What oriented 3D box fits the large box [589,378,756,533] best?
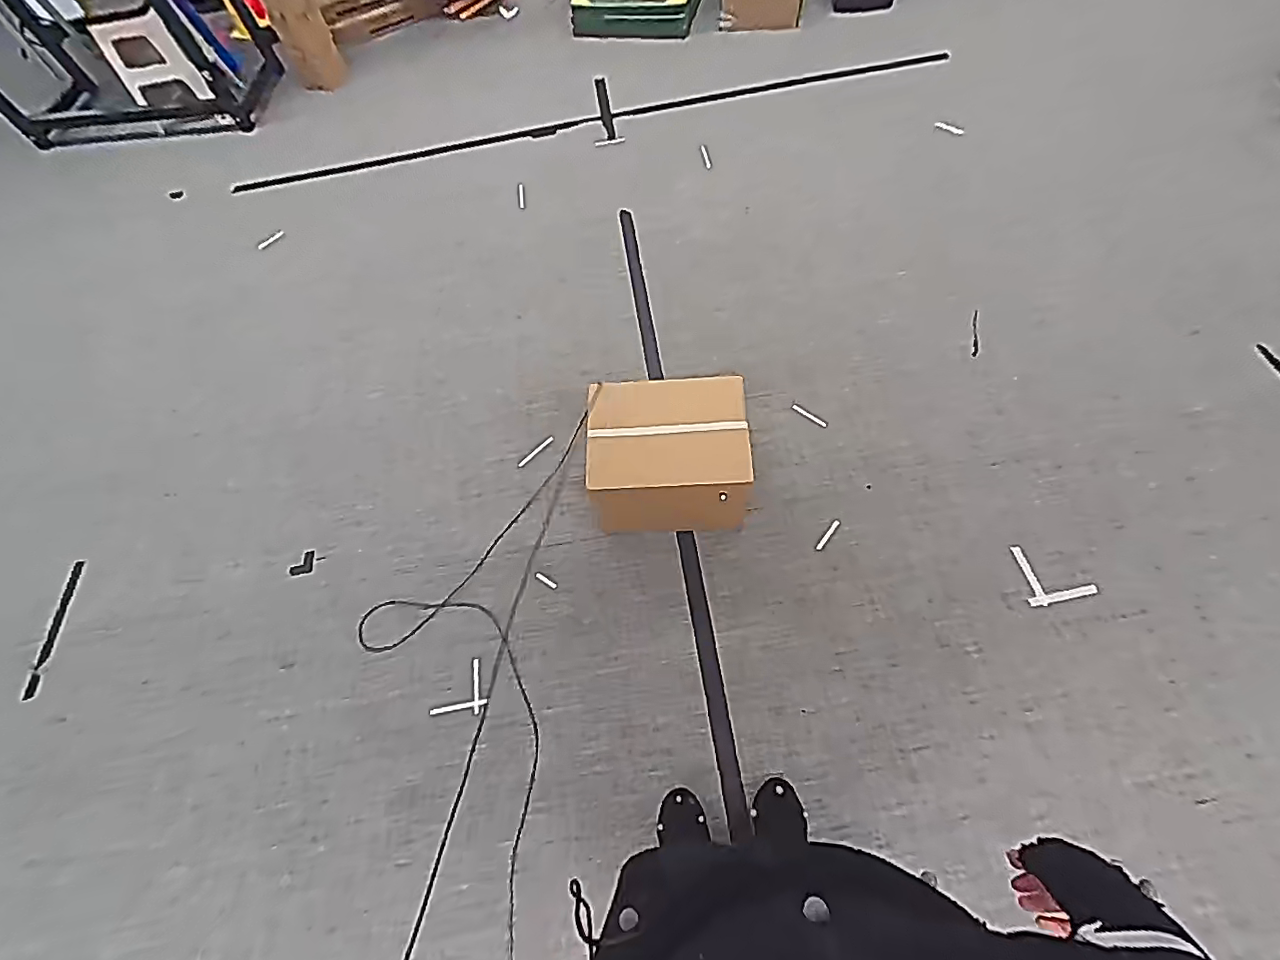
[{"bbox_3d":[0.085,-0.053,1.484,0.408,0.320,0.320,-3,64,3],"label":"large box"}]
